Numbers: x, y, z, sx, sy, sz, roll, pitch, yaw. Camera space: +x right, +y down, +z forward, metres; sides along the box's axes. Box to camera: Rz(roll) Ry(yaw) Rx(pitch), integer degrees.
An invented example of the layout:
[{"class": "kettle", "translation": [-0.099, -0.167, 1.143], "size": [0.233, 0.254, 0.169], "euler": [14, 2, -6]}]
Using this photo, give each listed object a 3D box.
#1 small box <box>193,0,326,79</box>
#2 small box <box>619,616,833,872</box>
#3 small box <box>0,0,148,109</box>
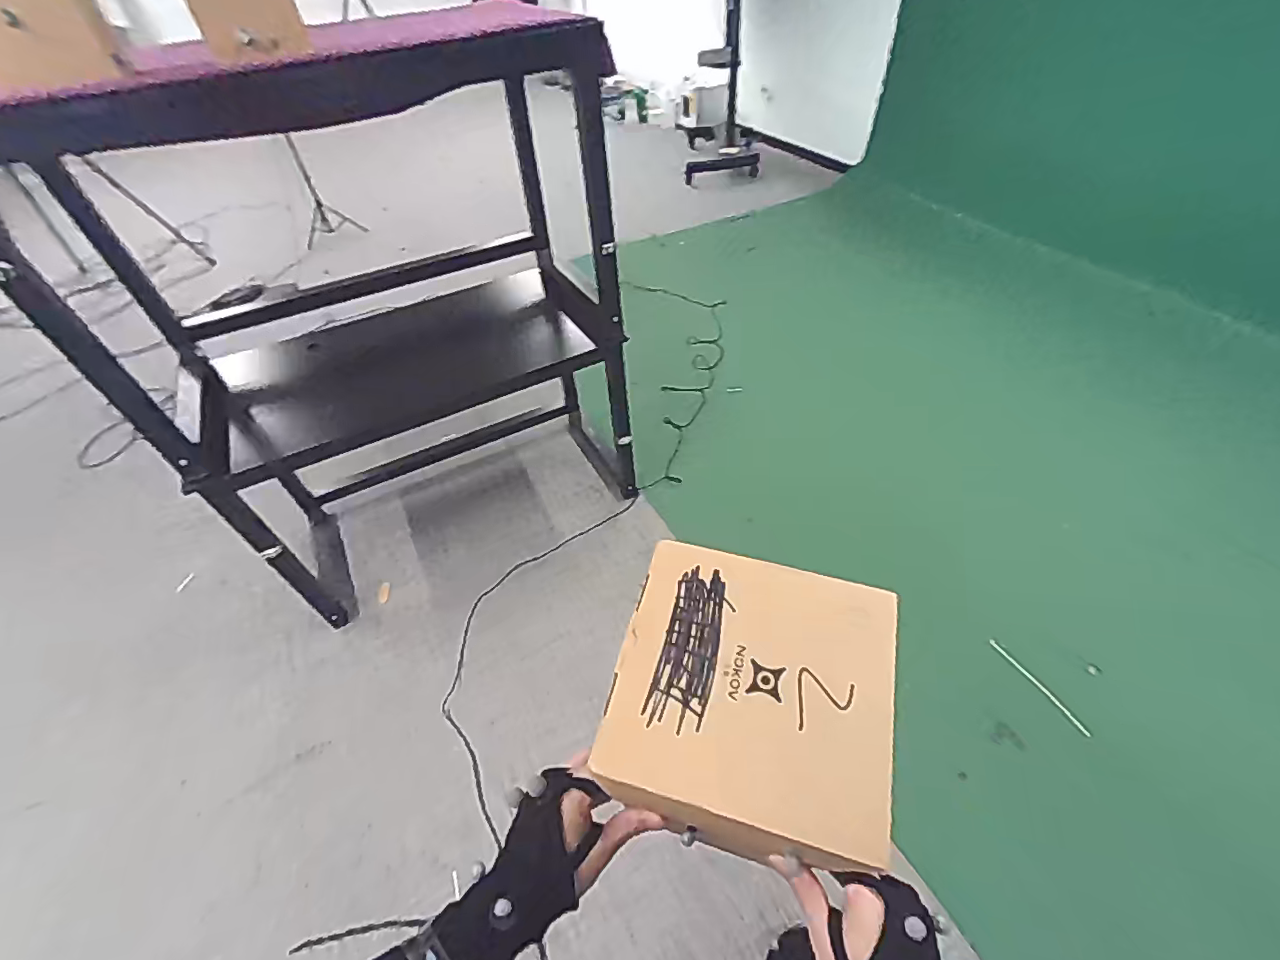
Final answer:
[{"class": "small box", "translation": [-0.691, -0.844, 0.975], "size": [0.168, 0.176, 0.179], "euler": [-21, 48, -14]}, {"class": "small box", "translation": [0.086, 0.270, 0.552], "size": [0.168, 0.176, 0.179], "euler": [12, 55, 13]}, {"class": "small box", "translation": [-0.966, -0.734, 0.888], "size": [0.179, 0.176, 0.168], "euler": [-23, 48, -16]}]
